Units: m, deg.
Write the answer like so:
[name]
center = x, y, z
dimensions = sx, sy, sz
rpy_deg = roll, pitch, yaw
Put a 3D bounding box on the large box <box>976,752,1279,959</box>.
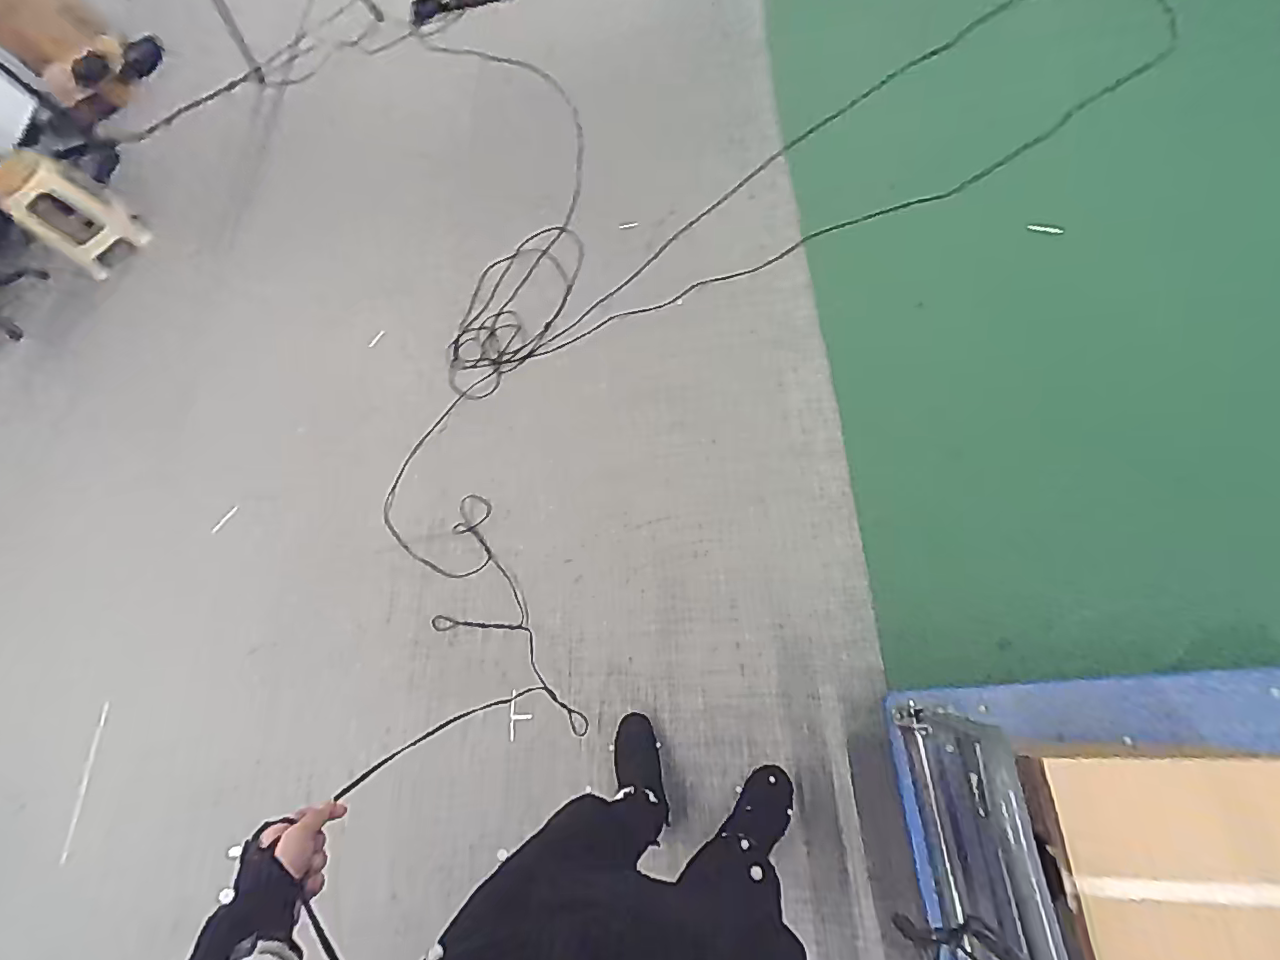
[large box]
center = 0.826, 0.604, 0.841
dimensions = 0.408, 0.320, 0.320
rpy_deg = -5, 68, 12
